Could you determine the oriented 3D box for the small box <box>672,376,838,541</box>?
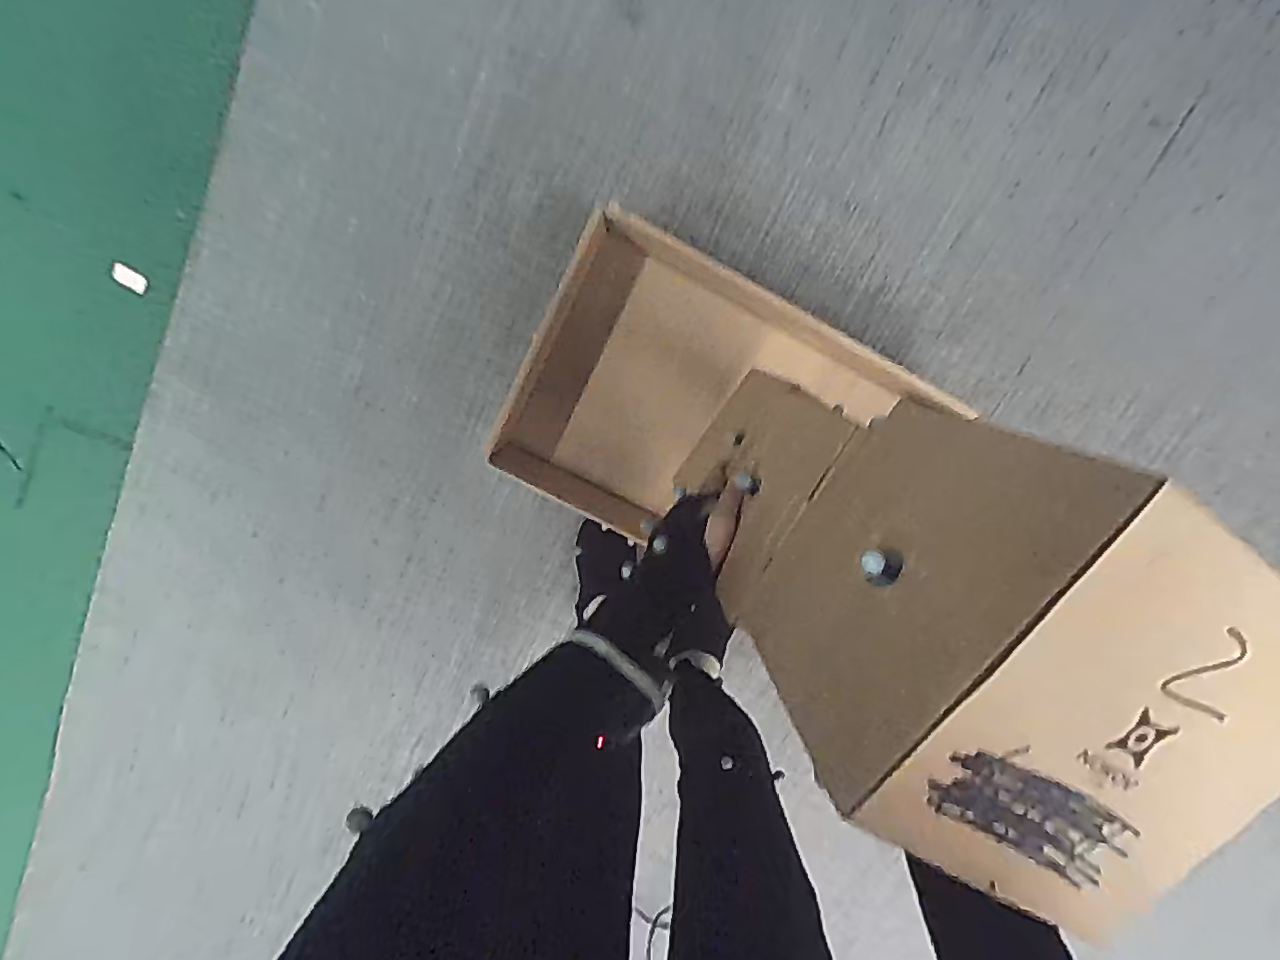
[{"bbox_3d":[0.149,0.003,0.603,0.168,0.176,0.179,32,103,-12],"label":"small box"}]
